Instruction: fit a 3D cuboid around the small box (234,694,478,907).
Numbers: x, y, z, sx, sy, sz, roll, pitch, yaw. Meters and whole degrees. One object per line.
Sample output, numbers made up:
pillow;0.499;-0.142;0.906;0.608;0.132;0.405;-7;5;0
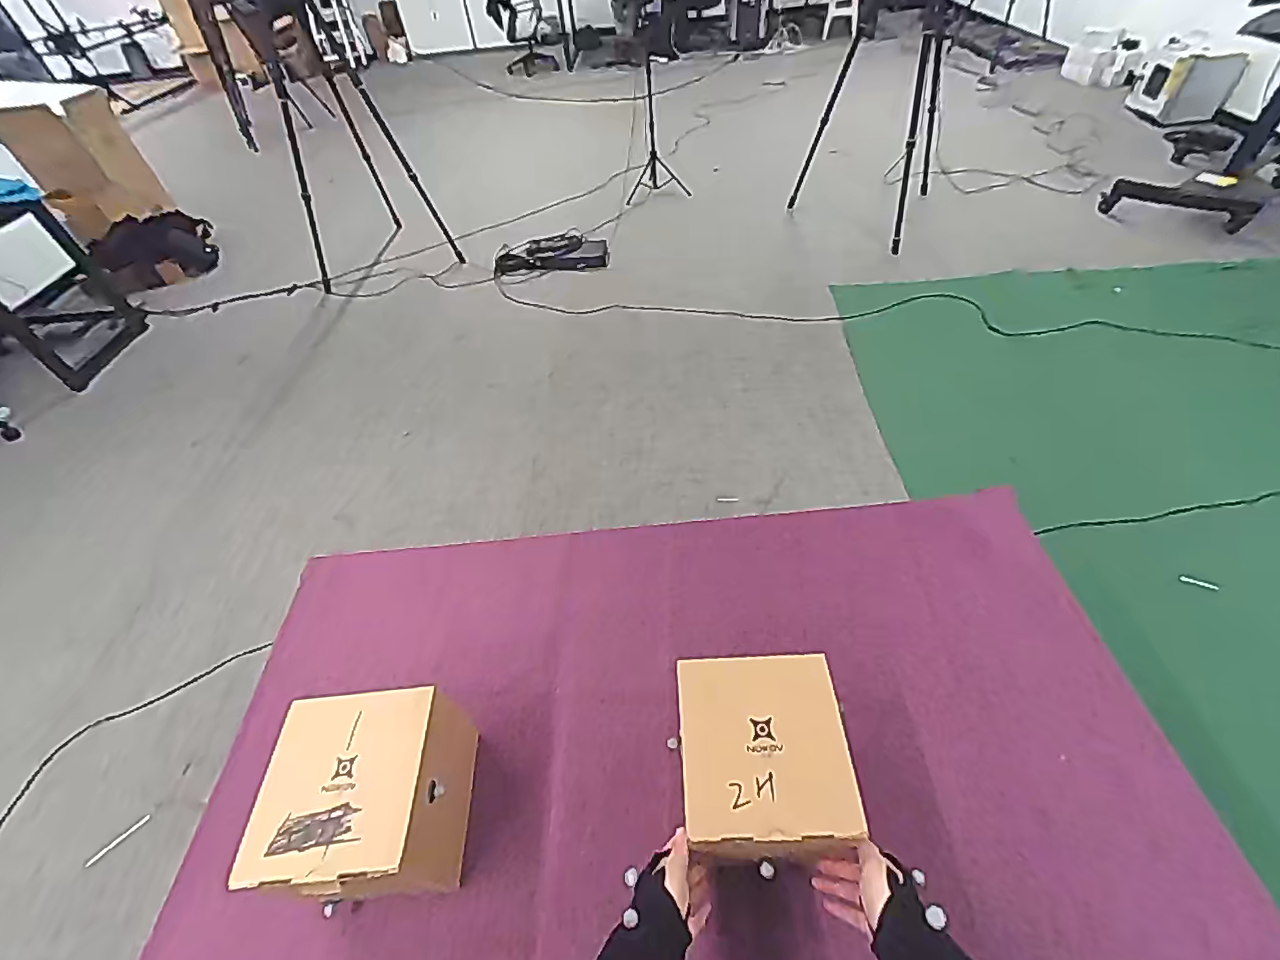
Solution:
small box;-0.296;0.368;0.616;0.168;0.176;0.179;-6;46;1

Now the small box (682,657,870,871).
small box;0.134;0.318;0.604;0.168;0.176;0.179;-4;48;4
